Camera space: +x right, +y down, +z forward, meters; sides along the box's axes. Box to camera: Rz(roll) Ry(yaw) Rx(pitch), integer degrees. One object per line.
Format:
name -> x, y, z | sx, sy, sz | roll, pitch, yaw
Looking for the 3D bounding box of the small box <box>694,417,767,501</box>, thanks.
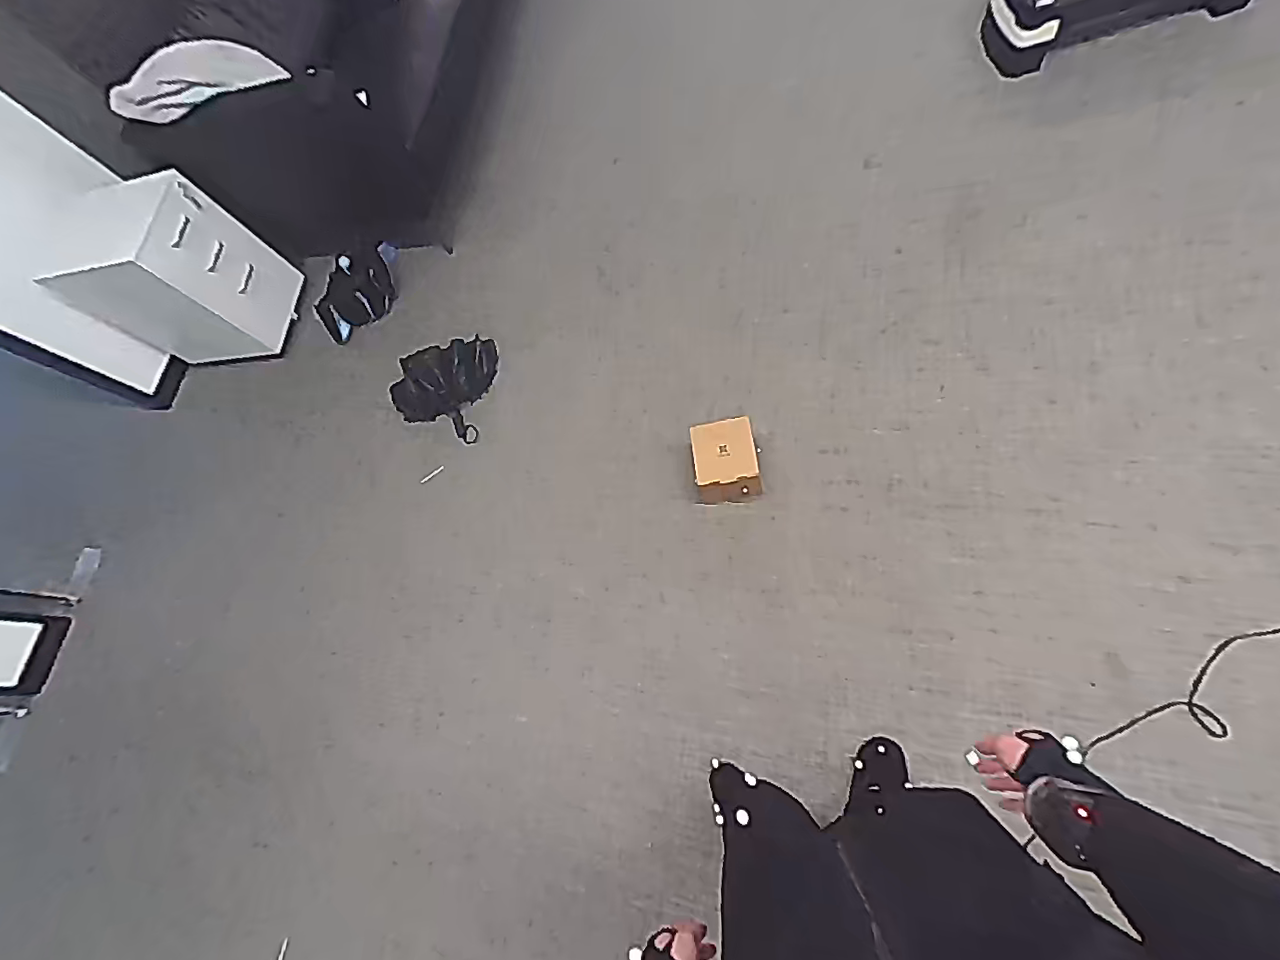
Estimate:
small box -> 0.255, -0.050, 1.510 | 0.168, 0.176, 0.179 | -12, 66, 13
